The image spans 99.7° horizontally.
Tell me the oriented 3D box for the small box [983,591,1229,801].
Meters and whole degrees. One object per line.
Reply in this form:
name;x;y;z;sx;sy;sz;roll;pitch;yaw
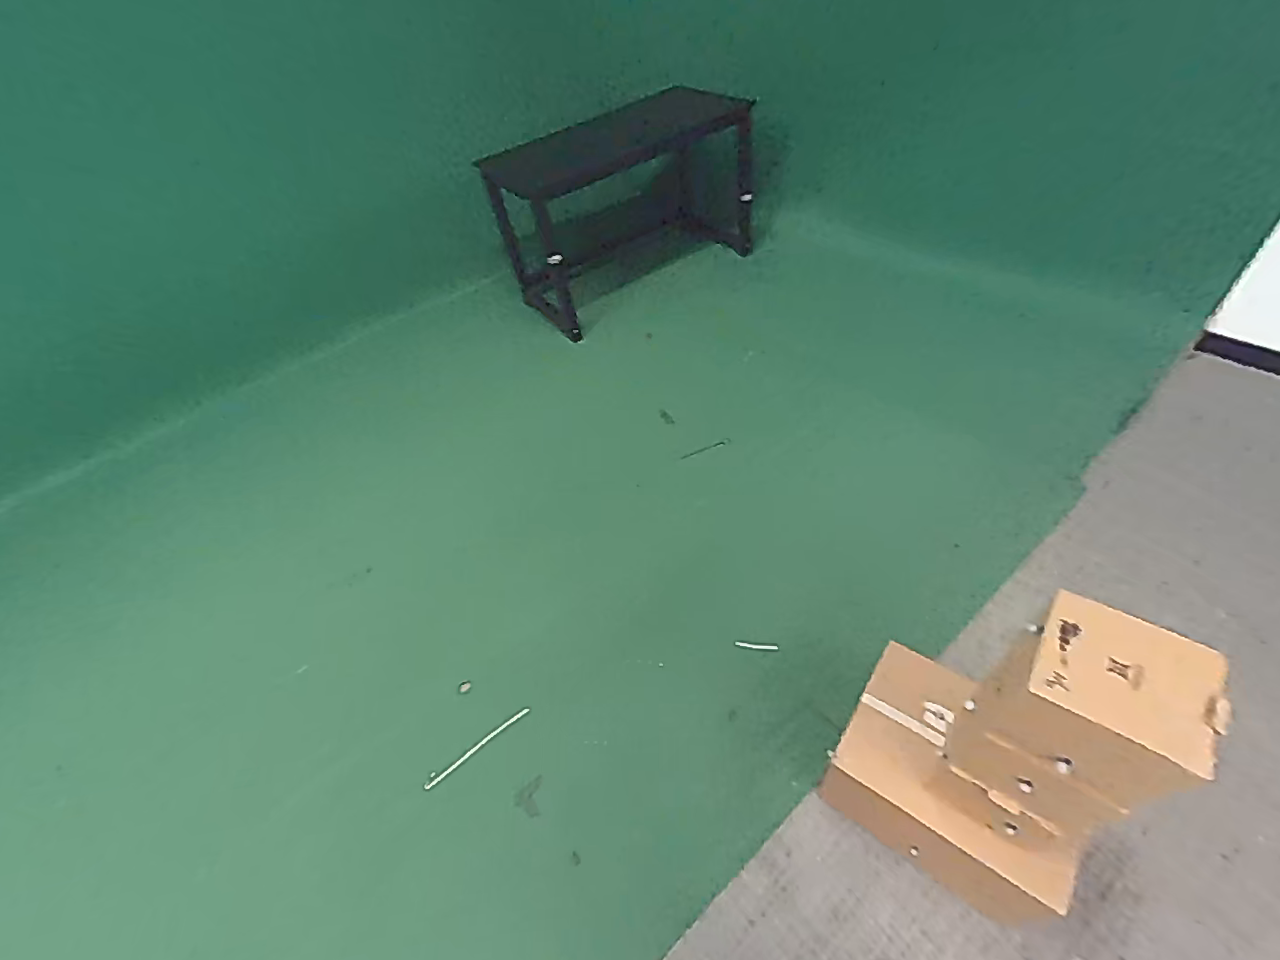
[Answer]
small box;0.589;0.284;0.703;0.179;0.176;0.168;27;58;29

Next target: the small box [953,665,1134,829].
small box;0.613;0.395;0.822;0.179;0.176;0.168;25;58;29

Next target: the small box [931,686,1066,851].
small box;0.633;0.504;0.942;0.168;0.176;0.179;27;58;30

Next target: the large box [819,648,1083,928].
large box;0.643;0.641;1.148;0.408;0.320;0.320;25;56;31
